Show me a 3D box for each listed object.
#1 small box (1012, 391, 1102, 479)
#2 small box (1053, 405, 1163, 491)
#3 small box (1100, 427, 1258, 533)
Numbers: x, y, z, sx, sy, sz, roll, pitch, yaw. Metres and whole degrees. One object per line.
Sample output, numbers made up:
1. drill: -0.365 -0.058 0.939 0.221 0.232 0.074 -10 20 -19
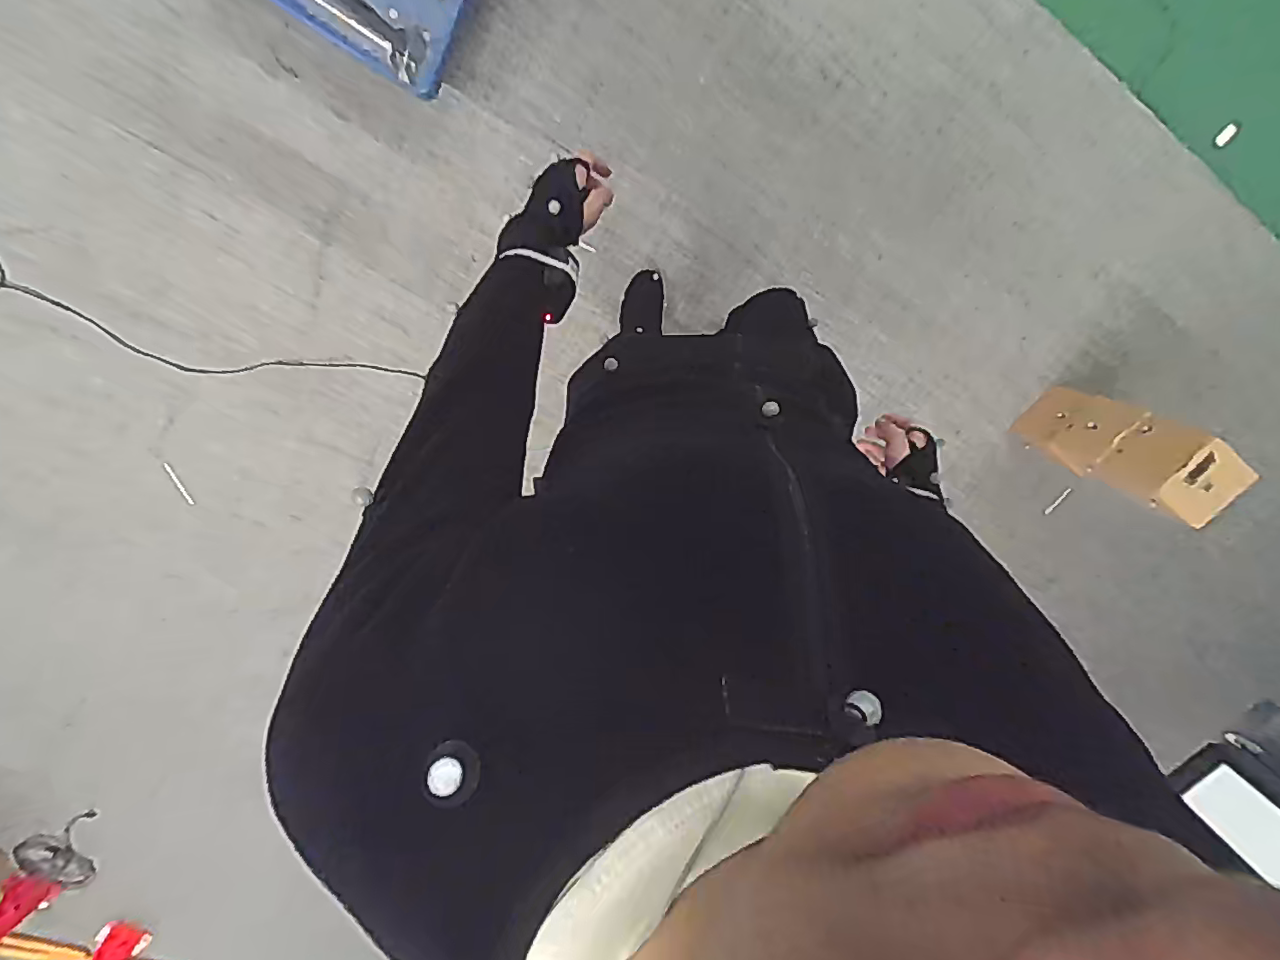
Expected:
1. small box: 1.259 -0.139 1.592 0.168 0.176 0.179 34 107 -14
2. small box: 1.264 -0.083 1.438 0.179 0.176 0.168 33 107 -13
3. small box: 1.271 -0.010 1.291 0.179 0.176 0.168 32 107 -14
